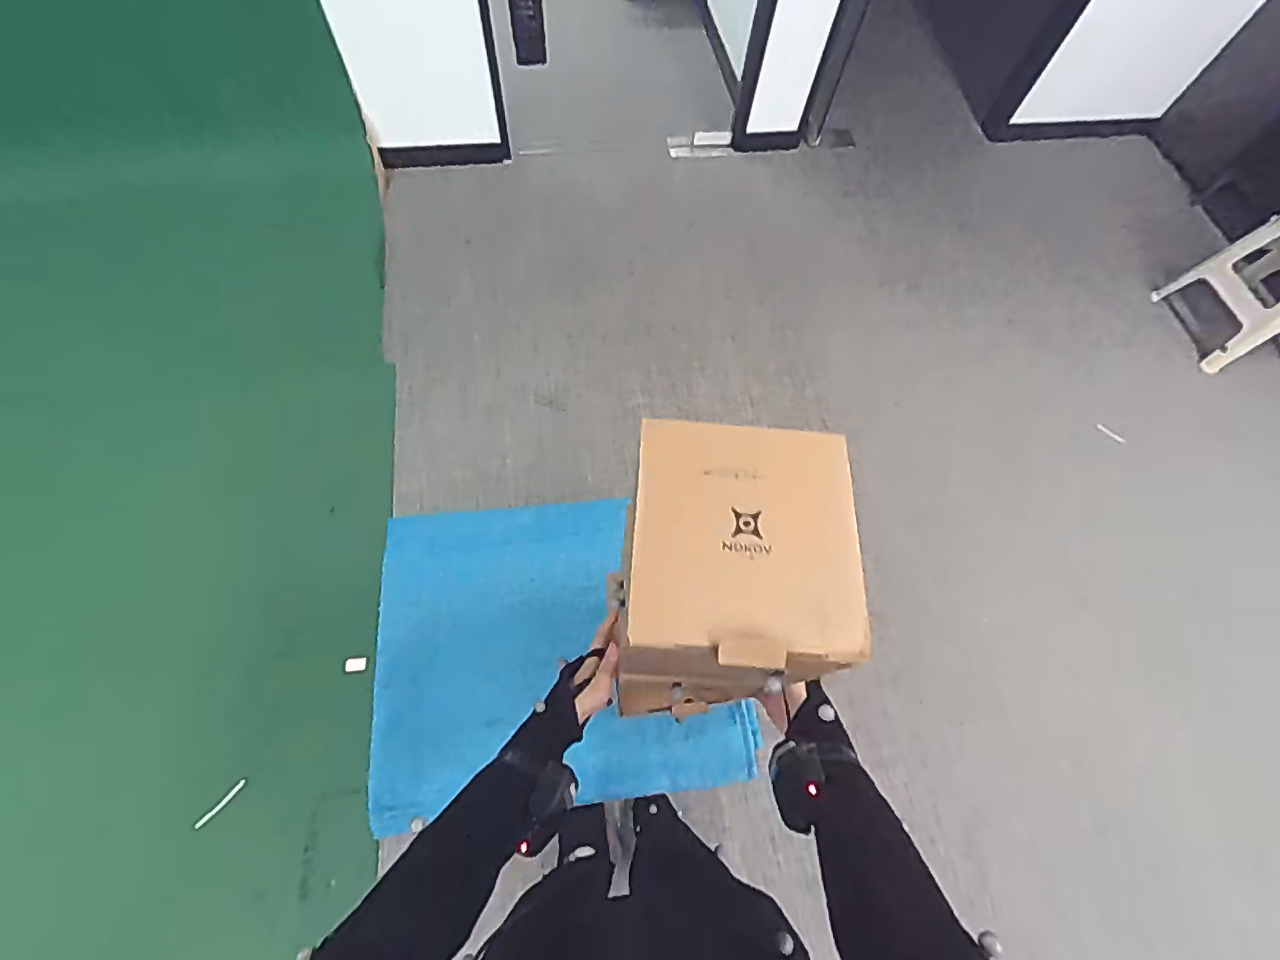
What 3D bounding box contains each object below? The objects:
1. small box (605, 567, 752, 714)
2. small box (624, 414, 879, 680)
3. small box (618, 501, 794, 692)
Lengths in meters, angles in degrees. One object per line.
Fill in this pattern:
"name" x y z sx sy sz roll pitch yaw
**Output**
"small box" 0.040 0.219 0.743 0.168 0.176 0.179 -4 66 -7
"small box" 0.076 0.067 0.457 0.168 0.176 0.179 5 64 -3
"small box" 0.062 0.138 0.603 0.168 0.176 0.179 3 64 -3
